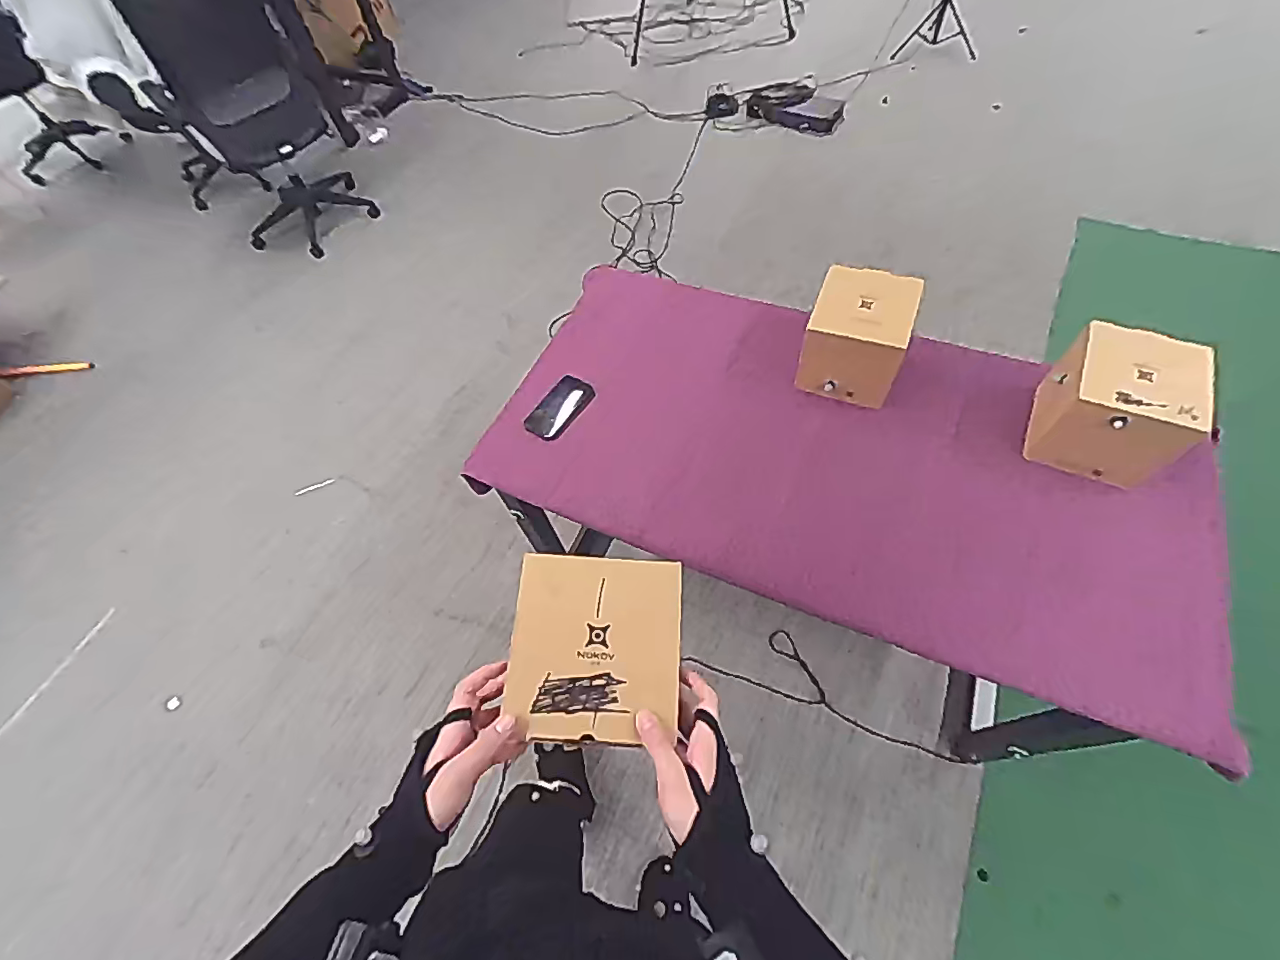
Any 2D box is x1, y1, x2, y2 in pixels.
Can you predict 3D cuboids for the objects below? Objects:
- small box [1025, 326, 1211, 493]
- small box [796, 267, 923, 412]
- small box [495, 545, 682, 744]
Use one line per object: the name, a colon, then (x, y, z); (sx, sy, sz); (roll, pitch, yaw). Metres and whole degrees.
small box: (0.762, -0.112, 0.877); (0.168, 0.176, 0.179); (21, 63, 19)
small box: (0.399, -0.259, 1.005); (0.168, 0.176, 0.179); (18, 63, 17)
small box: (-0.047, 0.185, 0.594); (0.168, 0.176, 0.179); (5, 65, 0)
